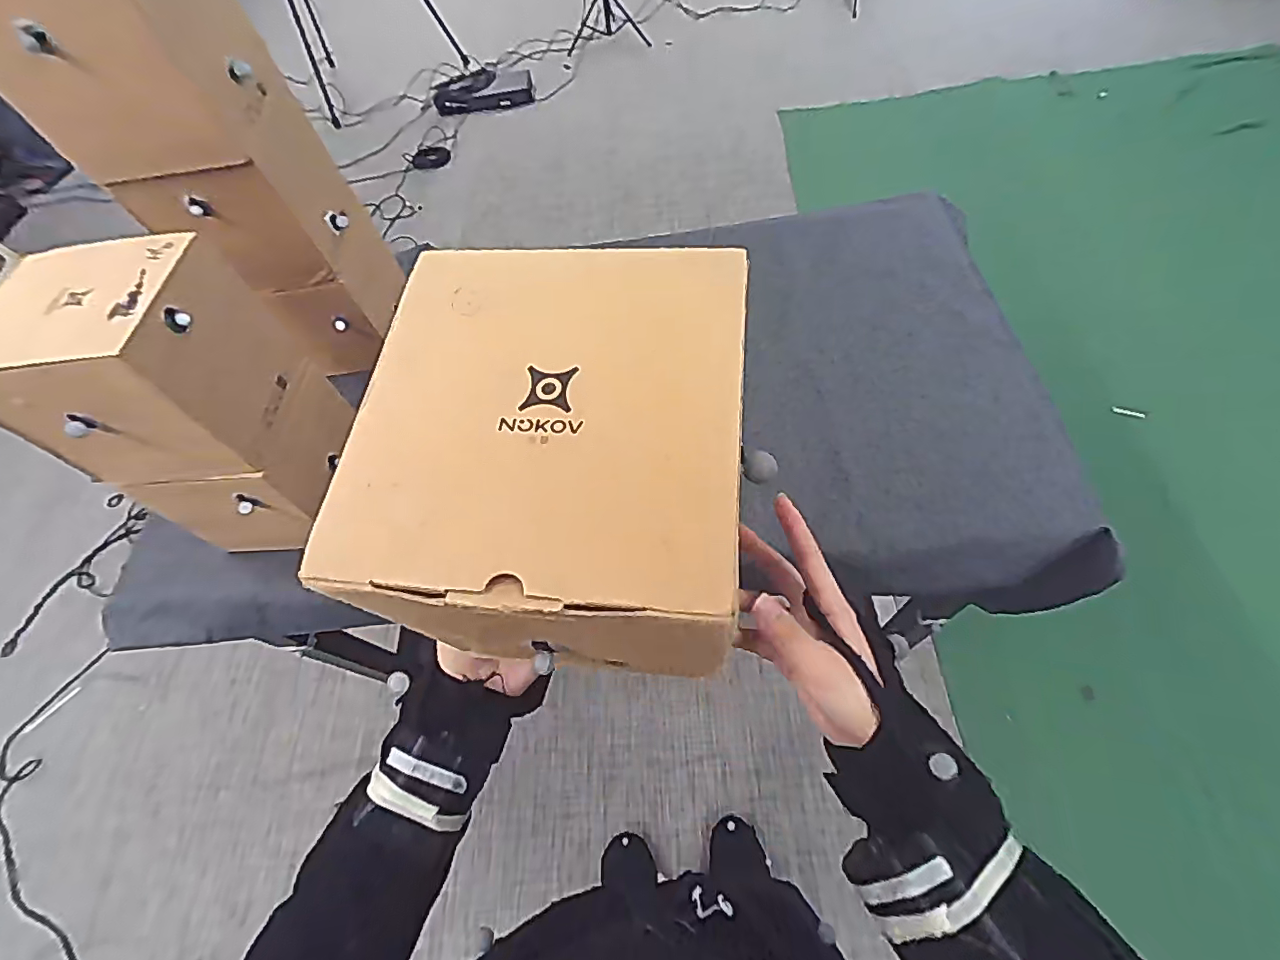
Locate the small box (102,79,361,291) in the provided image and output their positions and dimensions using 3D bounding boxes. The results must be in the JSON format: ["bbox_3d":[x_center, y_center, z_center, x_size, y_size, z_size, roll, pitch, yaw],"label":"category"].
[{"bbox_3d":[-0.492,-0.362,0.684,0.179,0.176,0.168,-8,62,2],"label":"small box"}]

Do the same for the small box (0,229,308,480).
[{"bbox_3d":[-0.482,-0.114,0.537,0.179,0.176,0.168,-7,58,4],"label":"small box"}]

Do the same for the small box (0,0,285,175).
[{"bbox_3d":[-0.506,-0.432,0.536,0.179,0.176,0.168,-6,62,3],"label":"small box"}]

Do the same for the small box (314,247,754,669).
[{"bbox_3d":[-0.029,-0.001,0.302,0.168,0.176,0.179,3,66,7],"label":"small box"}]

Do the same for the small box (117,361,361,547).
[{"bbox_3d":[-0.459,-0.026,0.673,0.179,0.176,0.168,-3,58,6],"label":"small box"}]
